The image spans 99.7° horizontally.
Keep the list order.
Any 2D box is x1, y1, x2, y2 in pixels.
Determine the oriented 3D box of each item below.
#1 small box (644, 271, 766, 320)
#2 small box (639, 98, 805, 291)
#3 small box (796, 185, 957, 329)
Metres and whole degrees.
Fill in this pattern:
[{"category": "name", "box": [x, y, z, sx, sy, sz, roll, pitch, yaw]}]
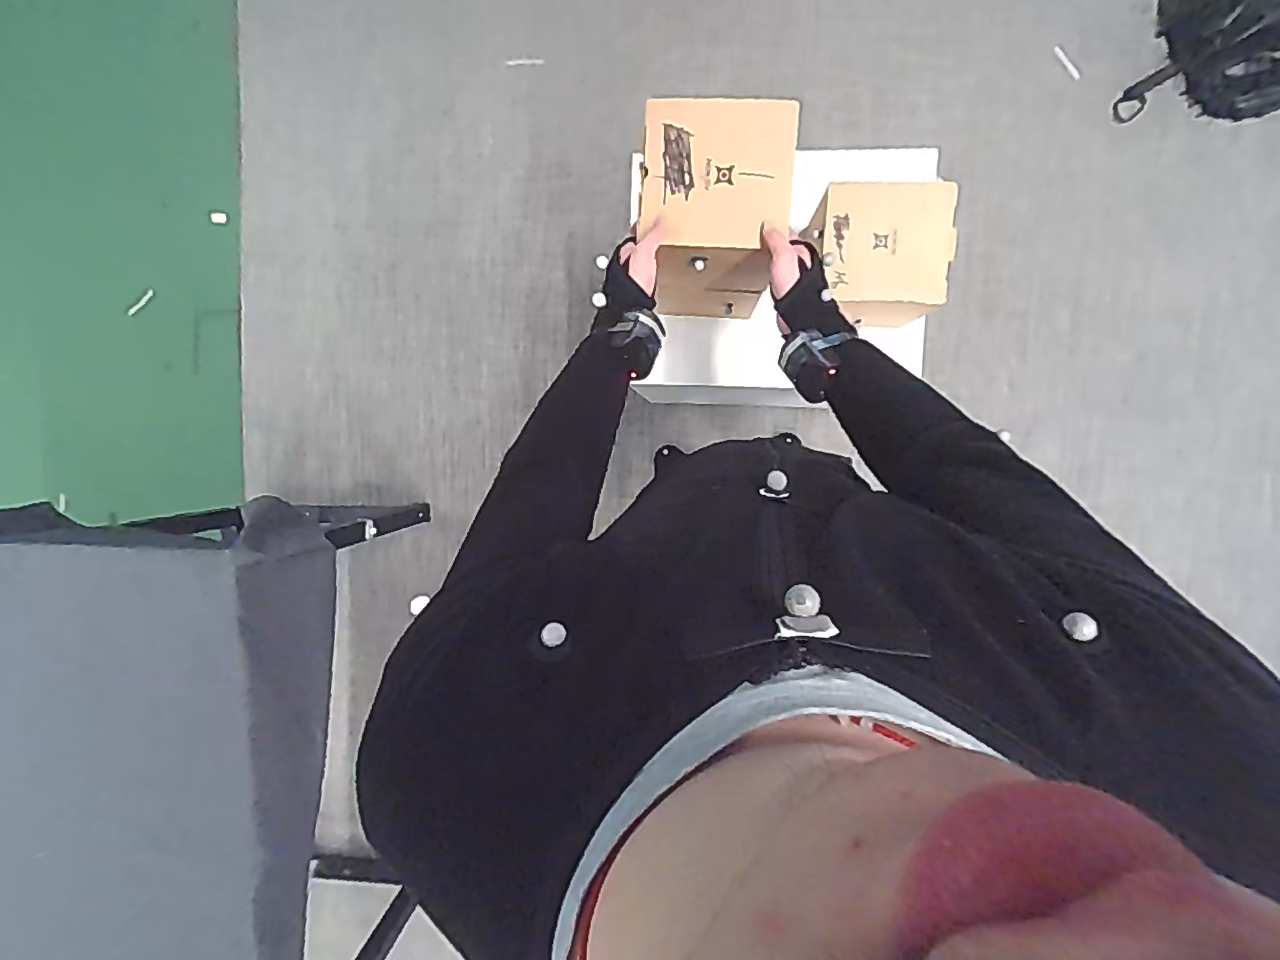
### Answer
[{"category": "small box", "box": [0.103, -0.356, 0.854, 0.179, 0.176, 0.168, 4, 94, 5]}, {"category": "small box", "box": [0.096, -0.348, 0.690, 0.179, 0.176, 0.168, 4, 94, 2]}, {"category": "small box", "box": [0.351, -0.333, 0.836, 0.179, 0.176, 0.168, 4, 95, 6]}]
